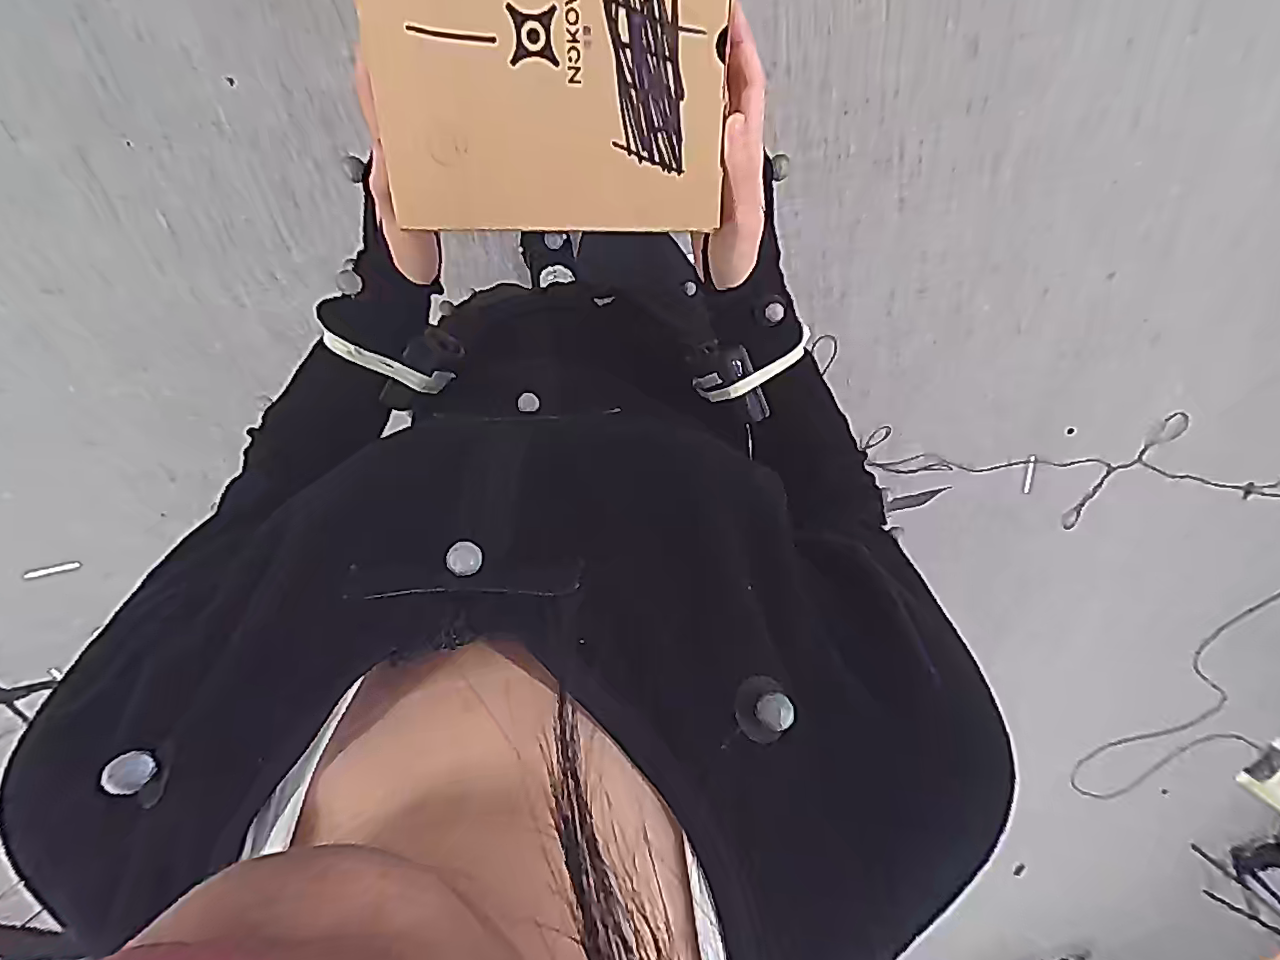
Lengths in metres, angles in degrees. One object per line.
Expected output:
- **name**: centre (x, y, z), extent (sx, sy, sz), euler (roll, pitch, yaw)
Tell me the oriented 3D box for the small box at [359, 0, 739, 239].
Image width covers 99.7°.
- **small box**: centre (-0.048, -0.244, 0.326), extent (0.179, 0.176, 0.168), euler (-2, 119, -5)
